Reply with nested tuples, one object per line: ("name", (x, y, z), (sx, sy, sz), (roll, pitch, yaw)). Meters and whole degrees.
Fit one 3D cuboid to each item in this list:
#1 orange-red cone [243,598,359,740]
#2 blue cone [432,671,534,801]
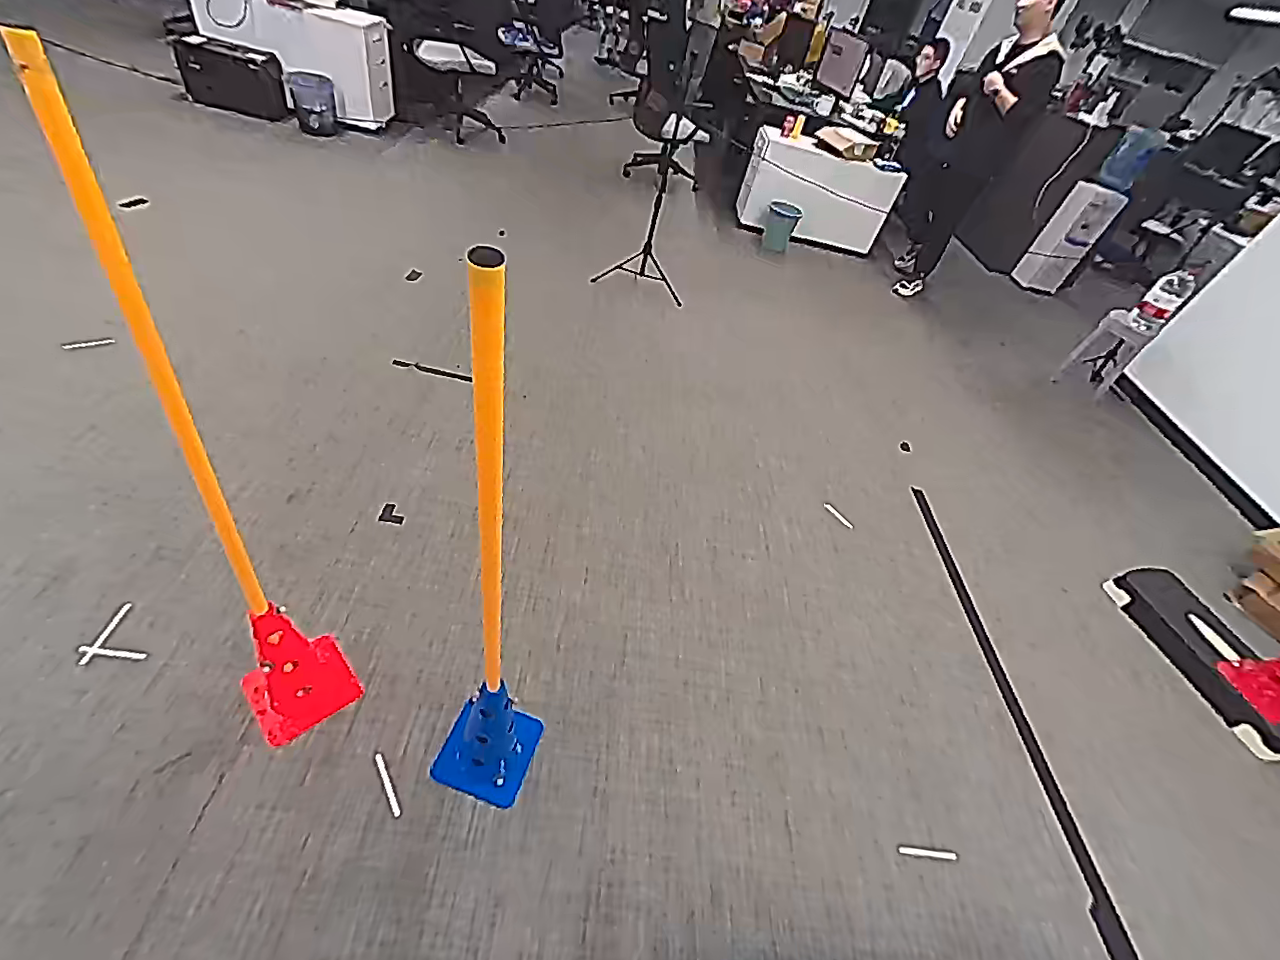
("orange-red cone", (-0.737, 0.350, 1.118), (0.198, 0.360, 0.199), (-27, 60, -35))
("blue cone", (-0.319, 0.498, 1.120), (0.192, 0.380, 0.193), (21, 44, 5))
